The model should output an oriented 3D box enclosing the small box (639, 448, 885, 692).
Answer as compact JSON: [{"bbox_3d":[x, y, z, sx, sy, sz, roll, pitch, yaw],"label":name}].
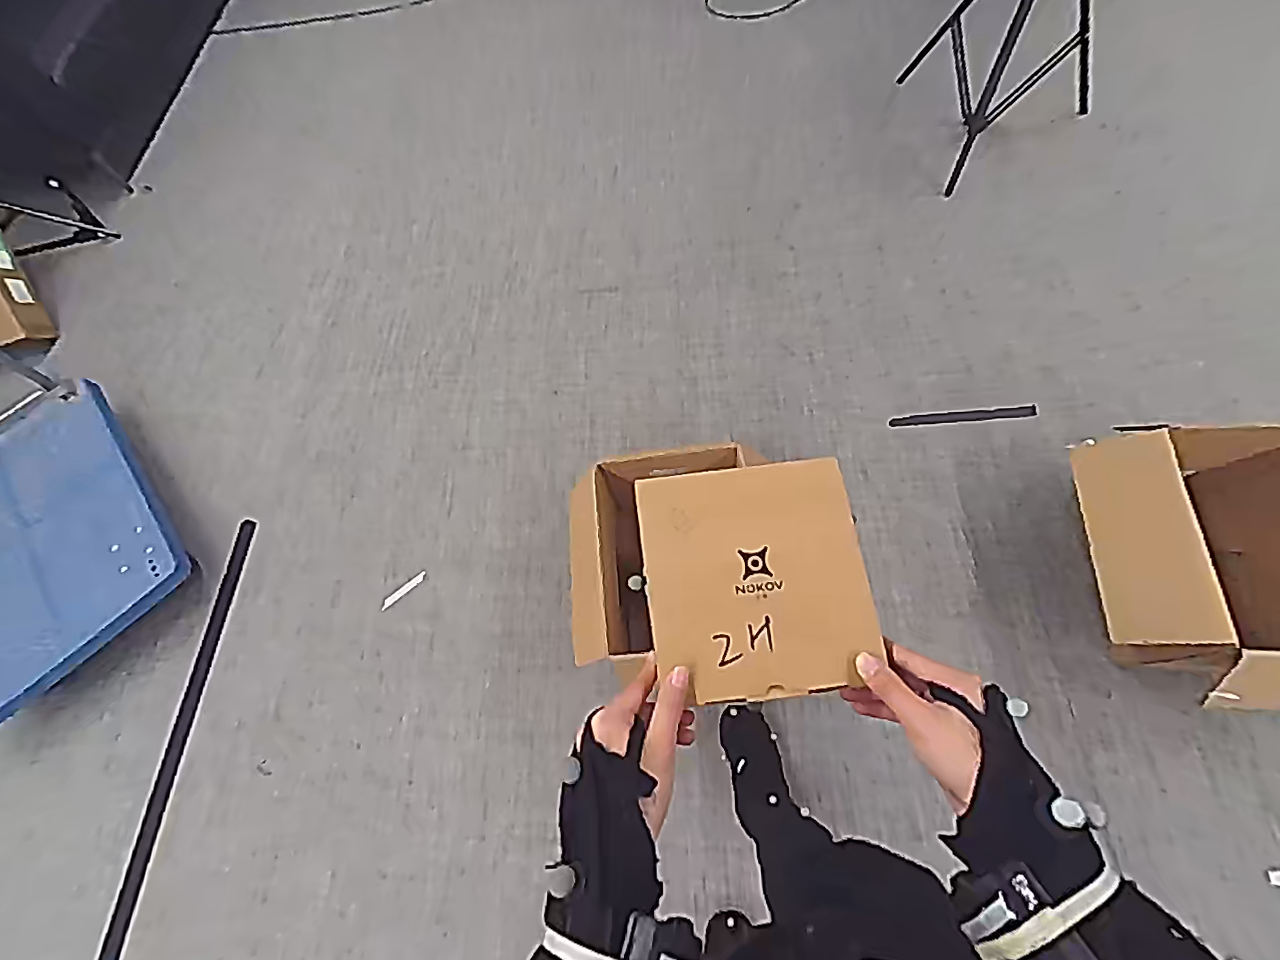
[{"bbox_3d":[0.089,0.089,0.489,0.168,0.176,0.179,-7,71,0],"label":"small box"}]
